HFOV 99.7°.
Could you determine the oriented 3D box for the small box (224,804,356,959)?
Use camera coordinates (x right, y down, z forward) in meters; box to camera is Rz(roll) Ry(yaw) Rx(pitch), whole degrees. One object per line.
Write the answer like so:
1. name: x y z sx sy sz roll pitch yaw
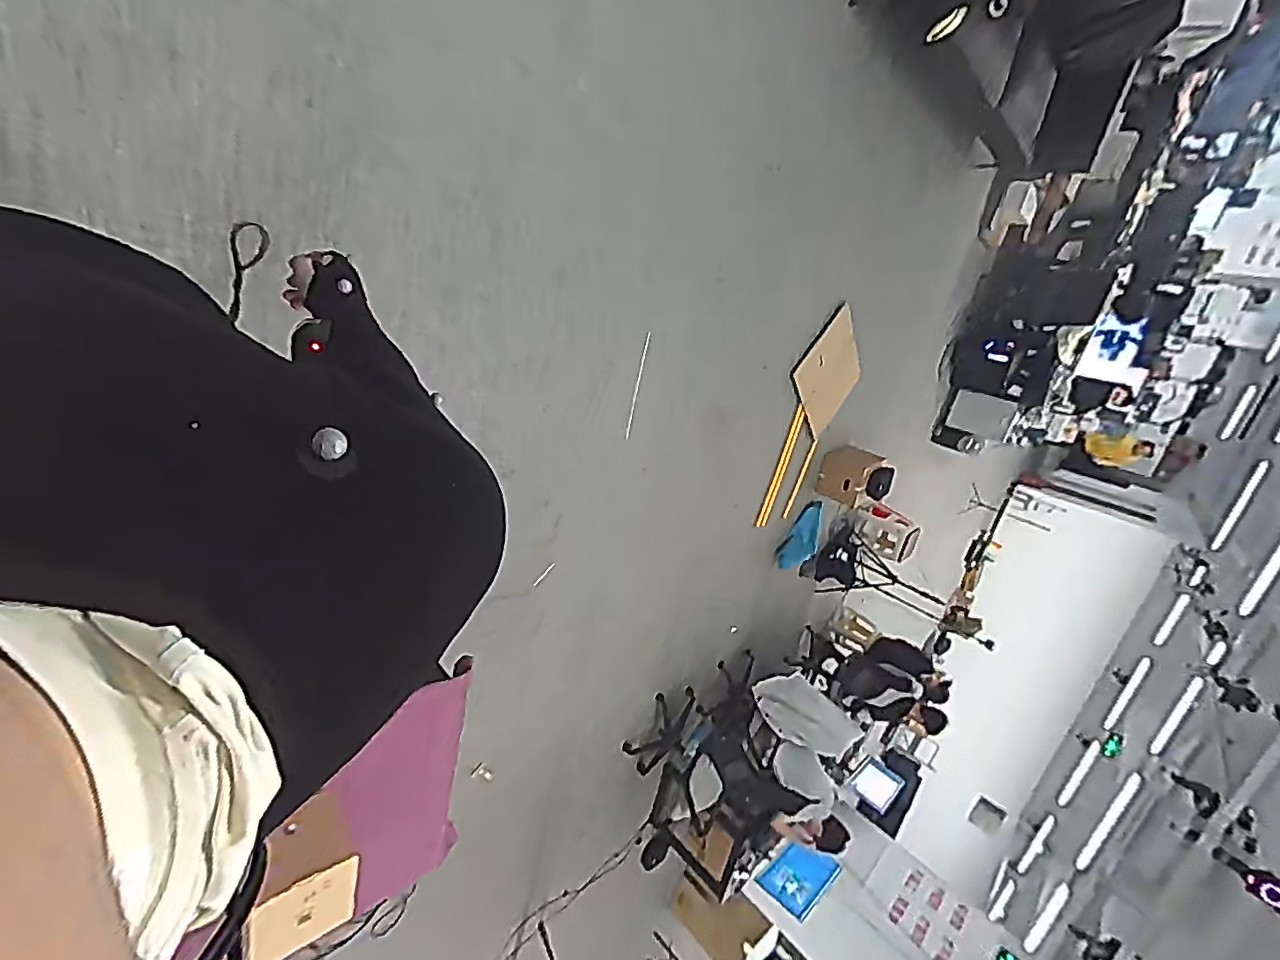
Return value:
1. small box: -0.647 0.752 0.995 0.168 0.176 0.179 -4 114 -47
